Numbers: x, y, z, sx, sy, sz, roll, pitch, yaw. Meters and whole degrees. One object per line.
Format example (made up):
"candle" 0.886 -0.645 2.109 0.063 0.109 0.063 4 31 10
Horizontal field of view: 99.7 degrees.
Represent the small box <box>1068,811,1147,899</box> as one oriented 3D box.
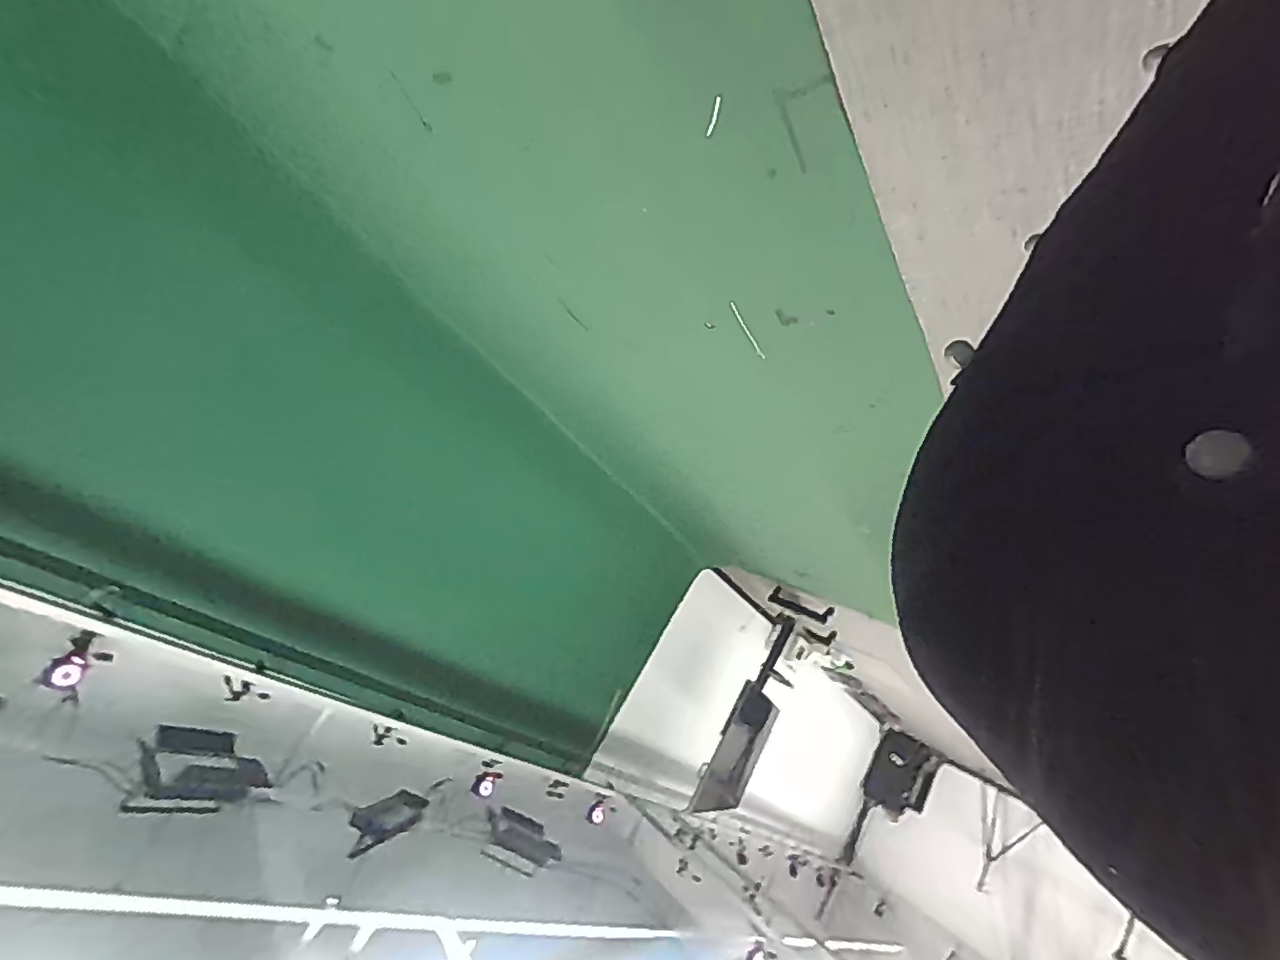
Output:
"small box" 1.520 1.216 1.762 0.168 0.176 0.179 16 156 47
